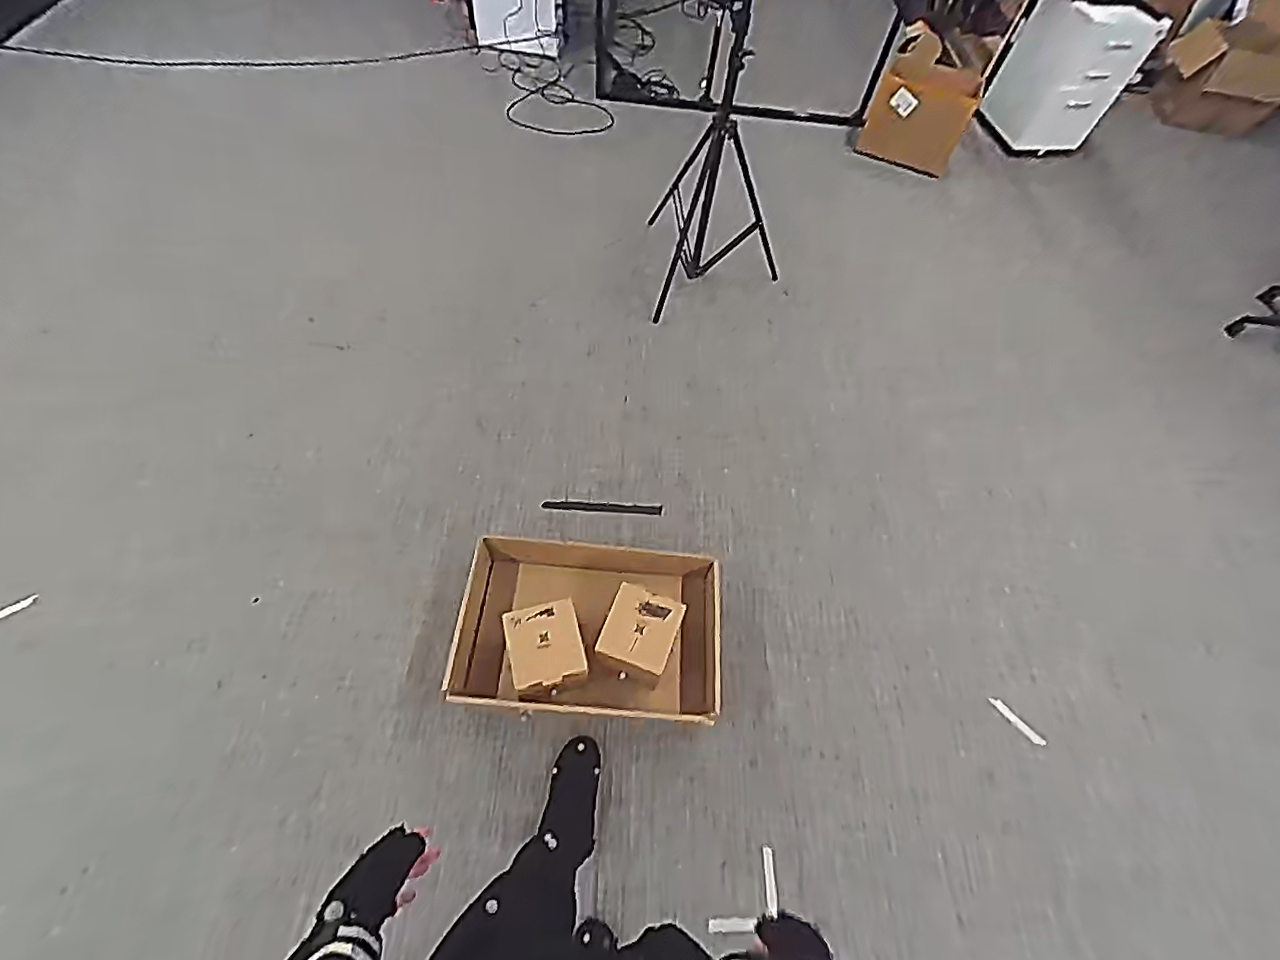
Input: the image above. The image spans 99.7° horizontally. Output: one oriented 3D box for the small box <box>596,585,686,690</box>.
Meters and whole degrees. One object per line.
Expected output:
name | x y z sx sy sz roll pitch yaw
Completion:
small box | -0.001 0.387 1.318 0.168 0.176 0.179 20 60 8
